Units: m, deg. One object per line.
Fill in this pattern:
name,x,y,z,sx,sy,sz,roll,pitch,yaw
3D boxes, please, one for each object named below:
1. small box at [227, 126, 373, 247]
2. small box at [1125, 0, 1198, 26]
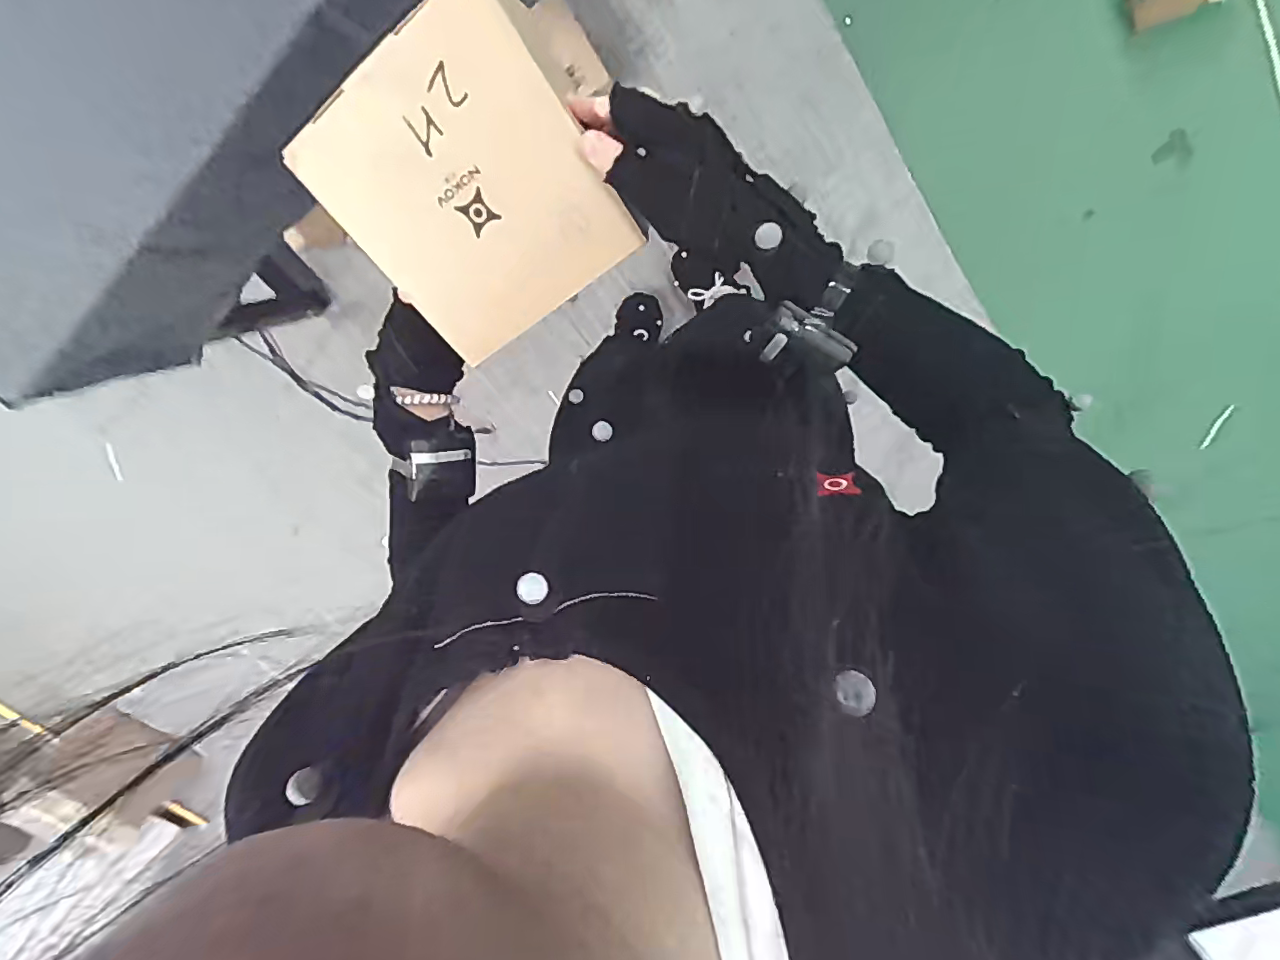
small box,-0.744,-0.640,1.204,0.168,0.176,0.179,-27,110,15
small box,1.019,-0.971,0.964,0.179,0.176,0.168,-24,111,14
